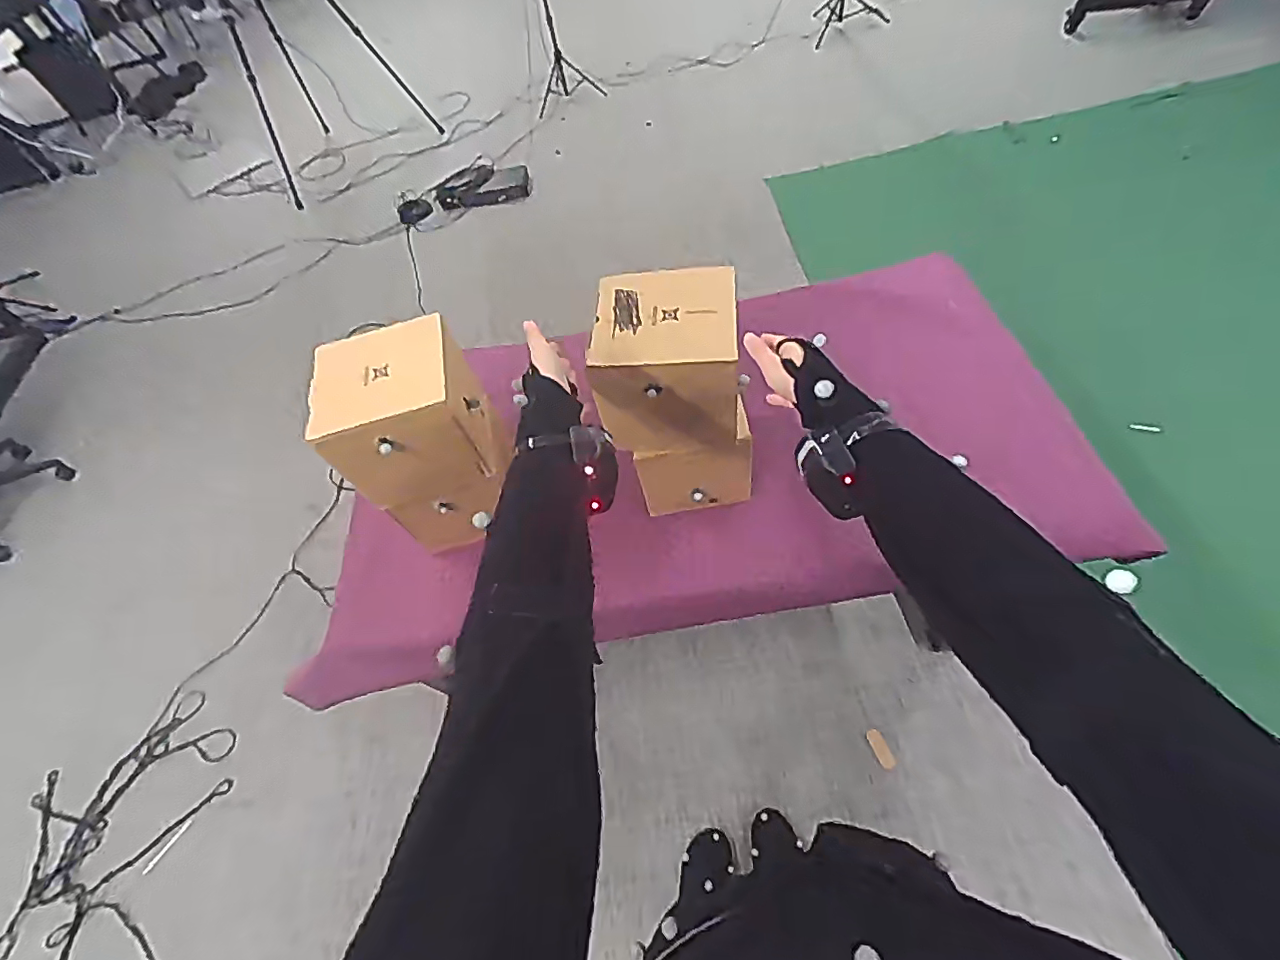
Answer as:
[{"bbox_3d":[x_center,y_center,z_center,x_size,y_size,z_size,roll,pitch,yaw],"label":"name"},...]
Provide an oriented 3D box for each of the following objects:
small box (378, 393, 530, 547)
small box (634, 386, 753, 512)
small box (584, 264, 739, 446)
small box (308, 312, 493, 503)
[{"bbox_3d":[-0.294,-0.010,0.880,0.179,0.176,0.168,-15,57,0],"label":"small box"},{"bbox_3d":[0.077,-0.073,0.850,0.168,0.176,0.179,-10,56,5],"label":"small box"},{"bbox_3d":[0.040,-0.156,0.711,0.179,0.176,0.168,-1,58,10],"label":"small box"},{"bbox_3d":[-0.314,-0.093,0.743,0.179,0.176,0.168,-17,57,0],"label":"small box"}]
